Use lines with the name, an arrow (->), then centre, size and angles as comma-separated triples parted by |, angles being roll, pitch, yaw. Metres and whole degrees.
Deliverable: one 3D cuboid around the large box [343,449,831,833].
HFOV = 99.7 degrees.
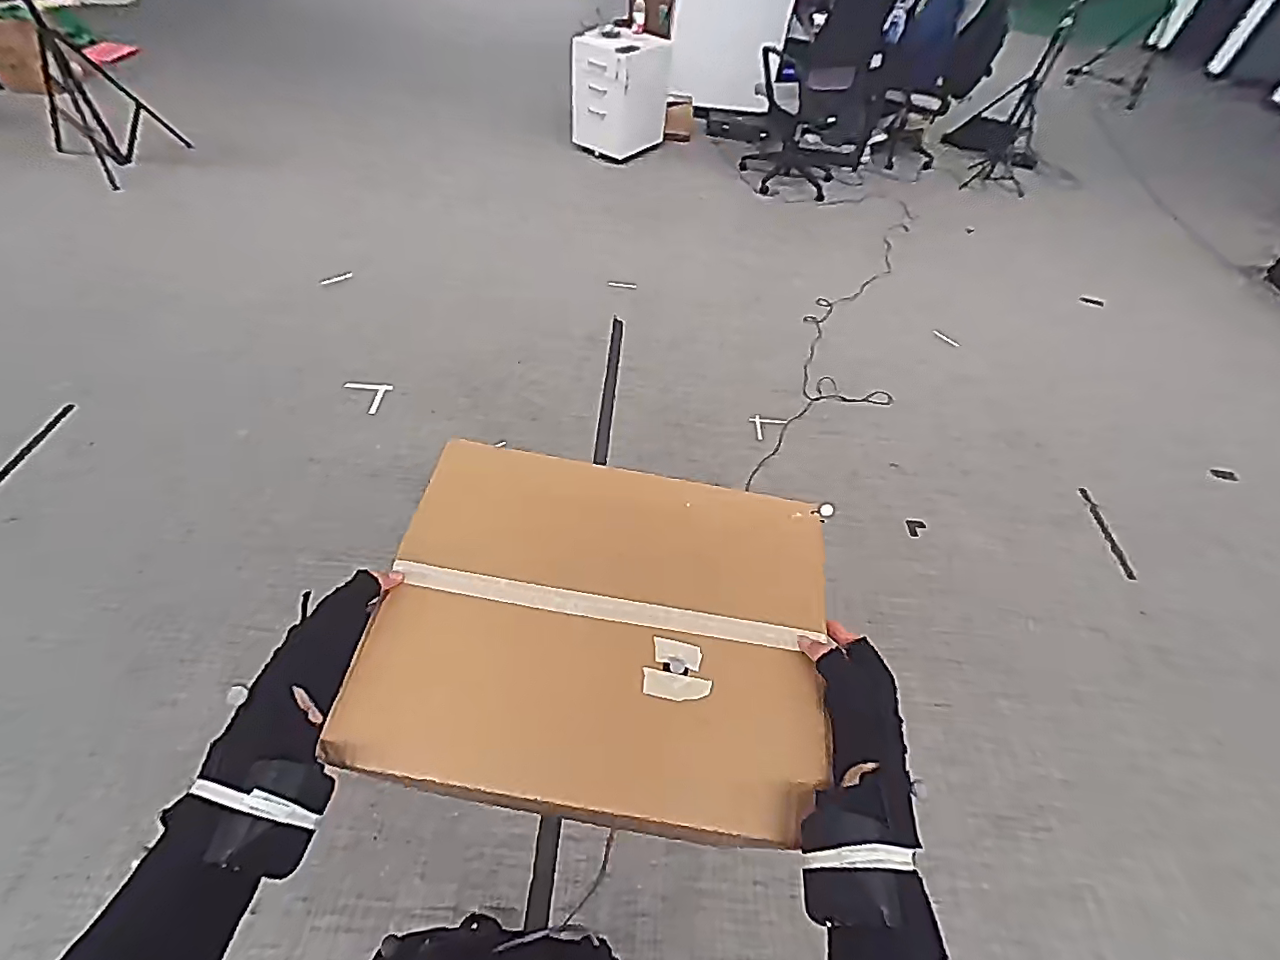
large box -> -0.040, 0.203, 0.633 | 0.408, 0.320, 0.320 | 11, 57, -1
